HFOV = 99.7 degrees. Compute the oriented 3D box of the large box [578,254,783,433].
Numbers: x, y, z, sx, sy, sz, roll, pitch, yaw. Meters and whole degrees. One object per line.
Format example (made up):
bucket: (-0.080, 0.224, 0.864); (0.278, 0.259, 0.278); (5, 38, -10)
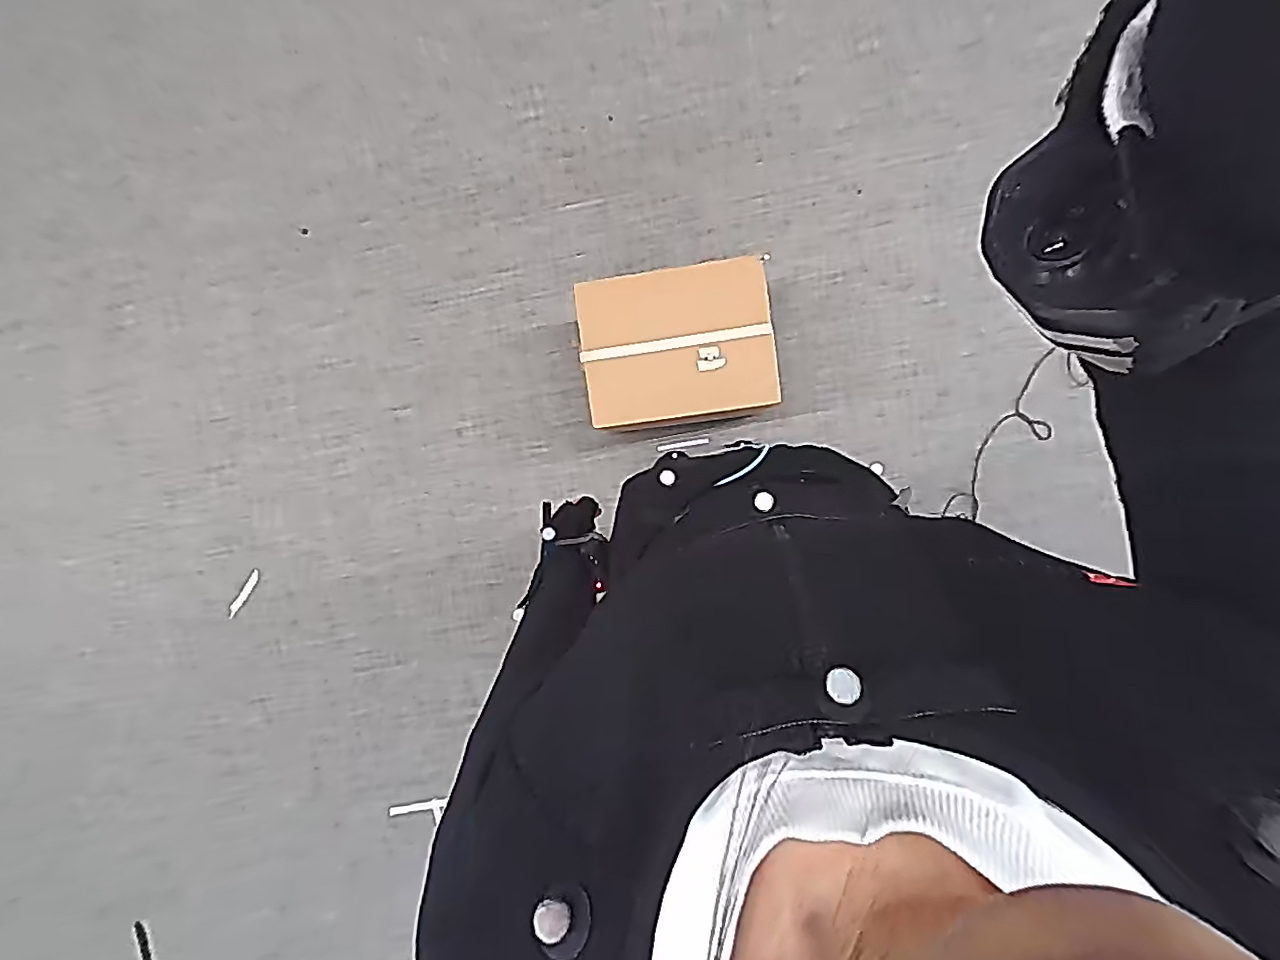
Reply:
large box: (0.091, -0.298, 1.293); (0.408, 0.320, 0.320); (-8, 93, 3)
